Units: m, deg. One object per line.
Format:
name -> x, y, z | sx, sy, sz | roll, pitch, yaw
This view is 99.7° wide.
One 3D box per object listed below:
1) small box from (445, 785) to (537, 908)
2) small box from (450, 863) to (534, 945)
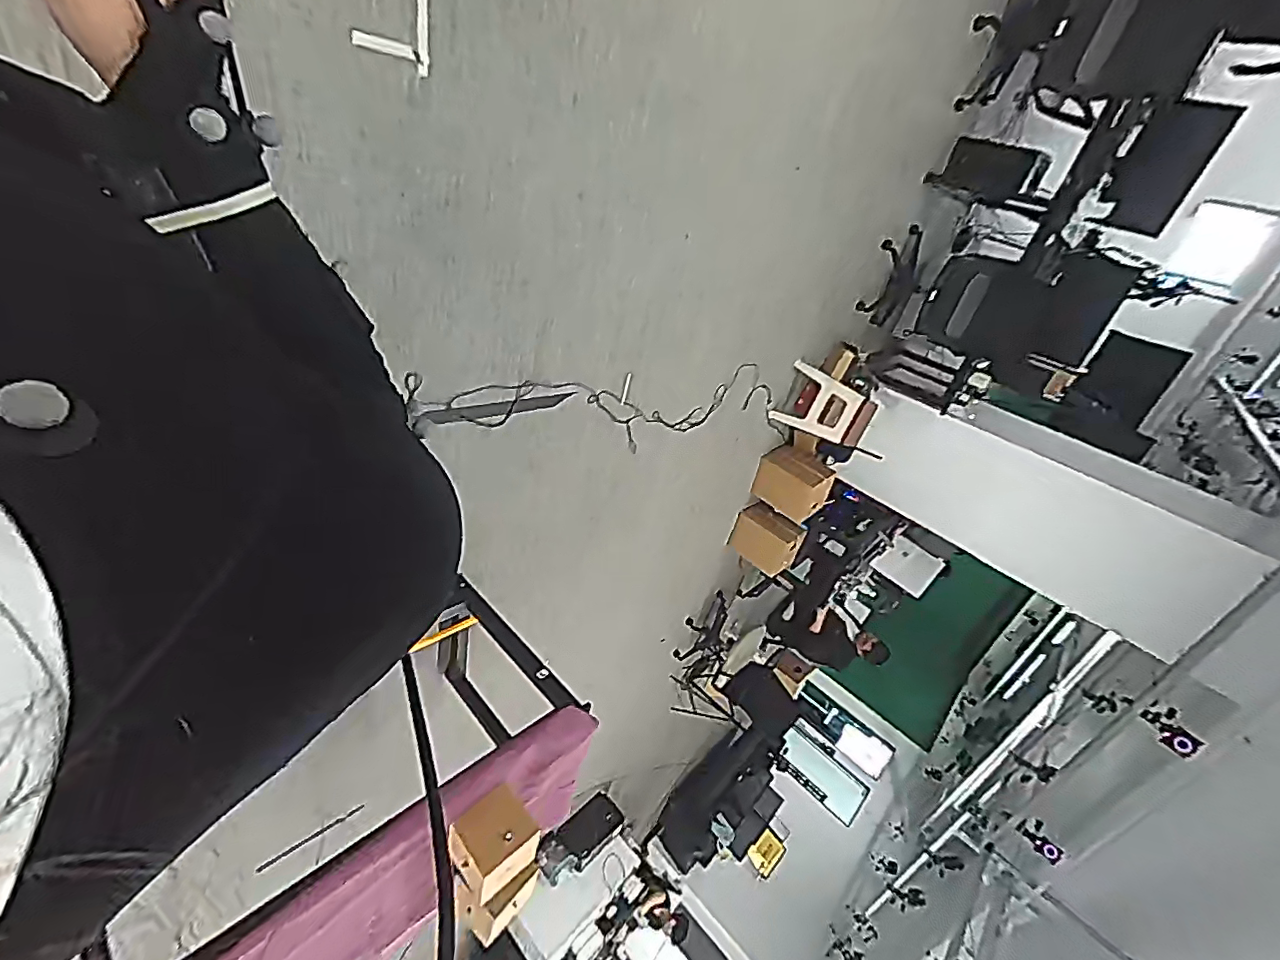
small box -> -0.402, 0.968, 1.442 | 0.179, 0.176, 0.168 | -21, 136, -44
small box -> -0.438, 1.199, 1.588 | 0.179, 0.168, 0.176 | -24, 139, -52
